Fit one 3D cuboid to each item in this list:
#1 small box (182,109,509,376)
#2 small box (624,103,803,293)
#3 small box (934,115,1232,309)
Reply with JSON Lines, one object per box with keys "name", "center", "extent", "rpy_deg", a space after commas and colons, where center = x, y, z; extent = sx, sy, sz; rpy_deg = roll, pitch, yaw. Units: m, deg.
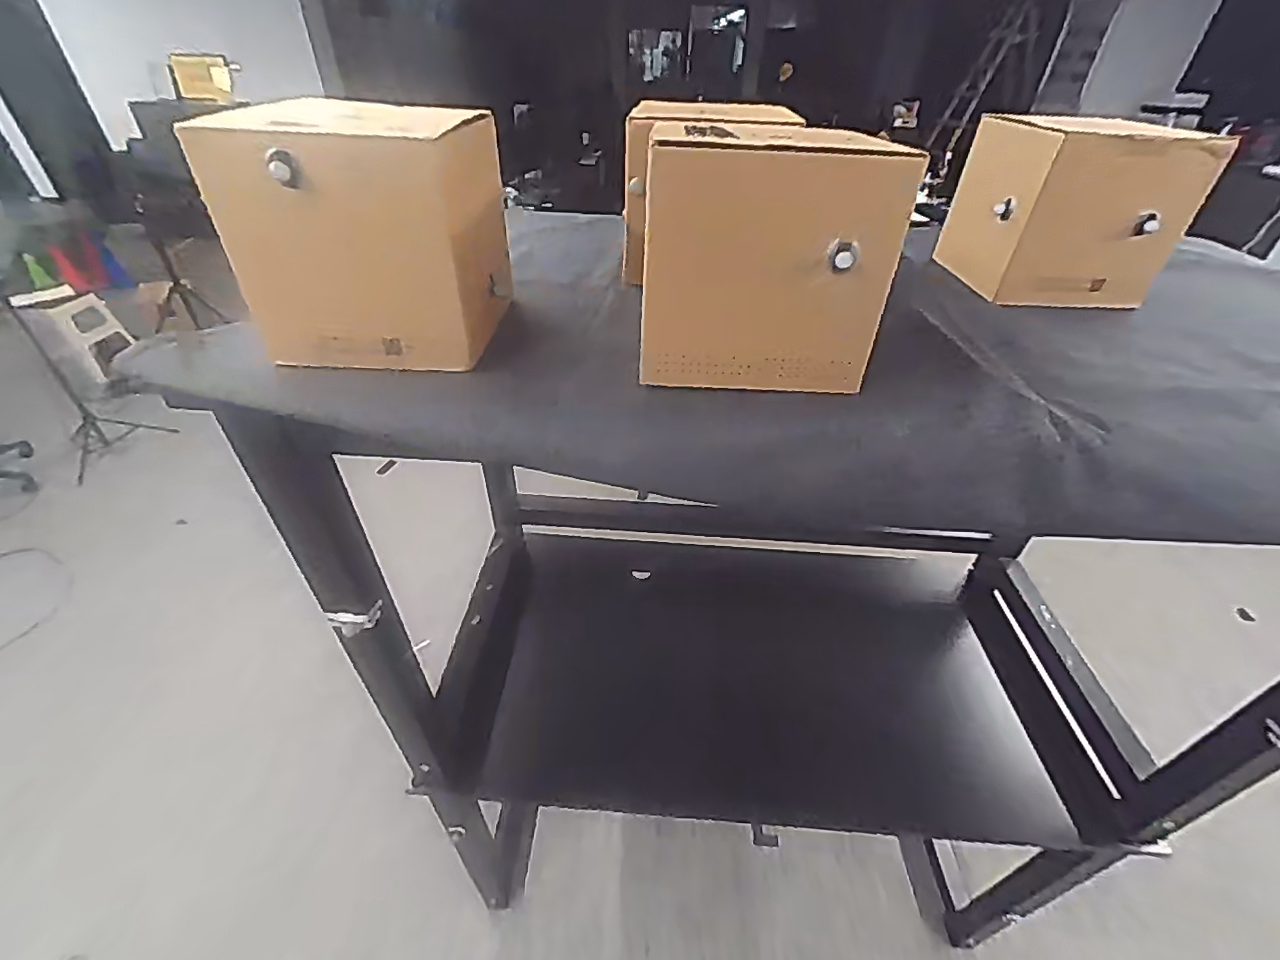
{"name": "small box", "center": [-0.213, -0.204, 0.458], "extent": [0.168, 0.176, 0.179], "rpy_deg": [1, 38, 0]}
{"name": "small box", "center": [0.076, -0.330, 0.636], "extent": [0.179, 0.176, 0.168], "rpy_deg": [4, 39, 3]}
{"name": "small box", "center": [0.477, -0.308, 0.622], "extent": [0.168, 0.176, 0.179], "rpy_deg": [3, 39, 0]}
